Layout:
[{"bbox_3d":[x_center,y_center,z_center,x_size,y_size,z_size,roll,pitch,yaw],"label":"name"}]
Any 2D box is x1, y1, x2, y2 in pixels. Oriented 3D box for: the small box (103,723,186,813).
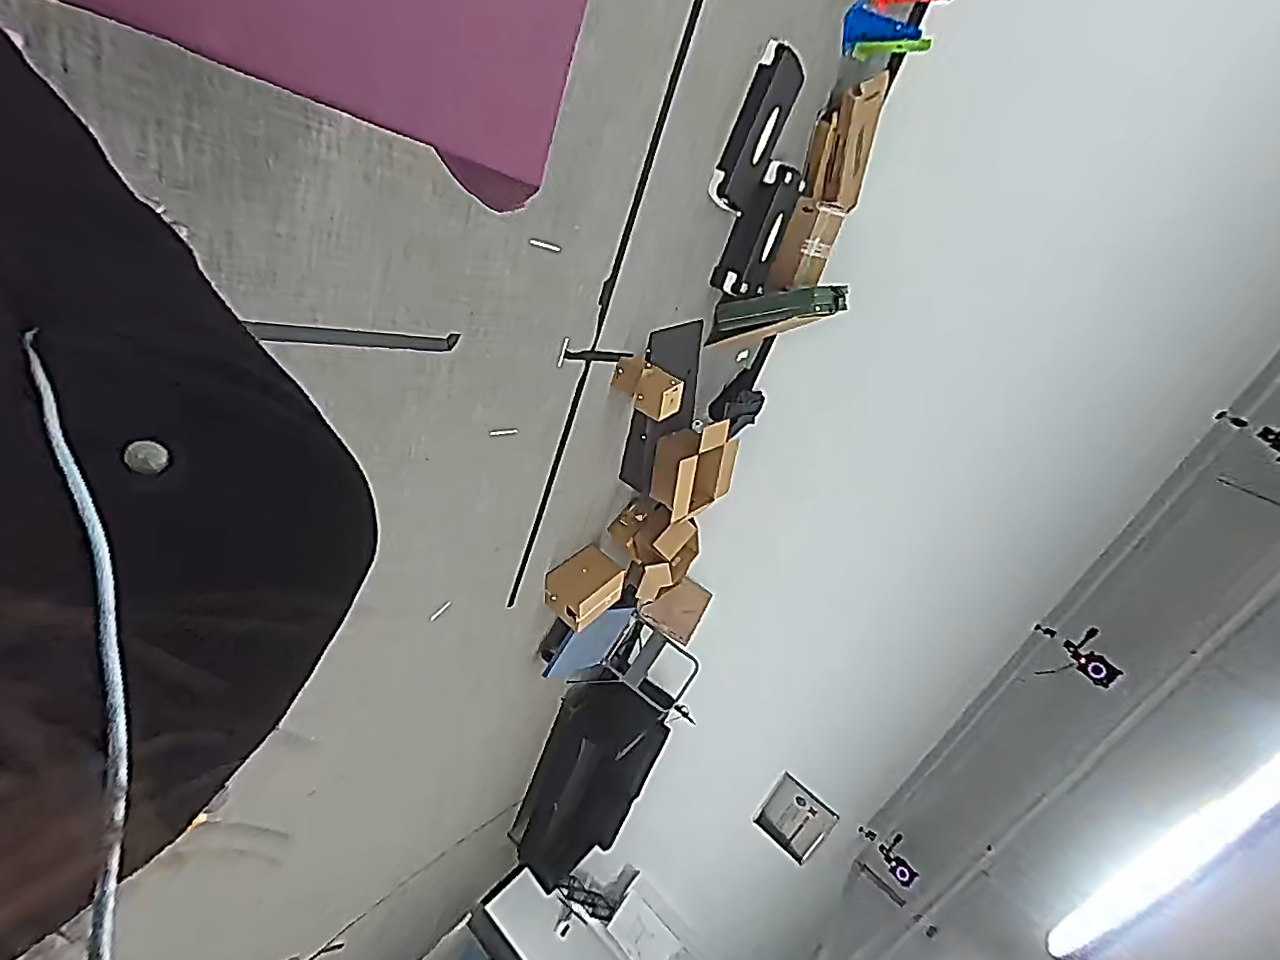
[{"bbox_3d":[-1.632,0.934,1.780,0.168,0.176,0.179,-14,133,-55],"label":"small box"}]
